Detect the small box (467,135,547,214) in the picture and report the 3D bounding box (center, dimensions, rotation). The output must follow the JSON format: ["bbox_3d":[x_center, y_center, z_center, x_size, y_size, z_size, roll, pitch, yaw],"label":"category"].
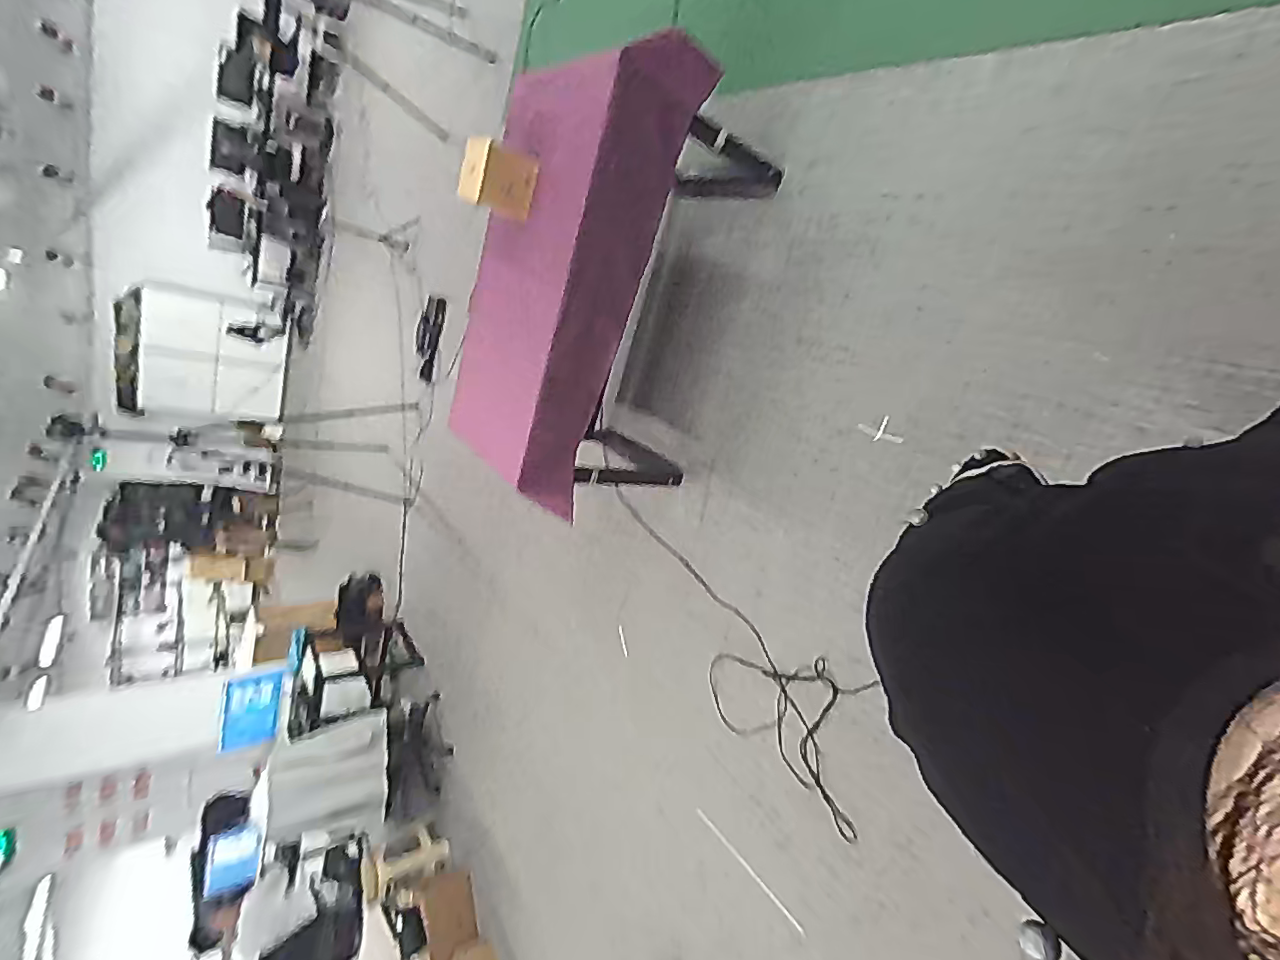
[{"bbox_3d":[-0.407,-0.934,1.660,0.179,0.176,0.168,38,116,44],"label":"small box"}]
